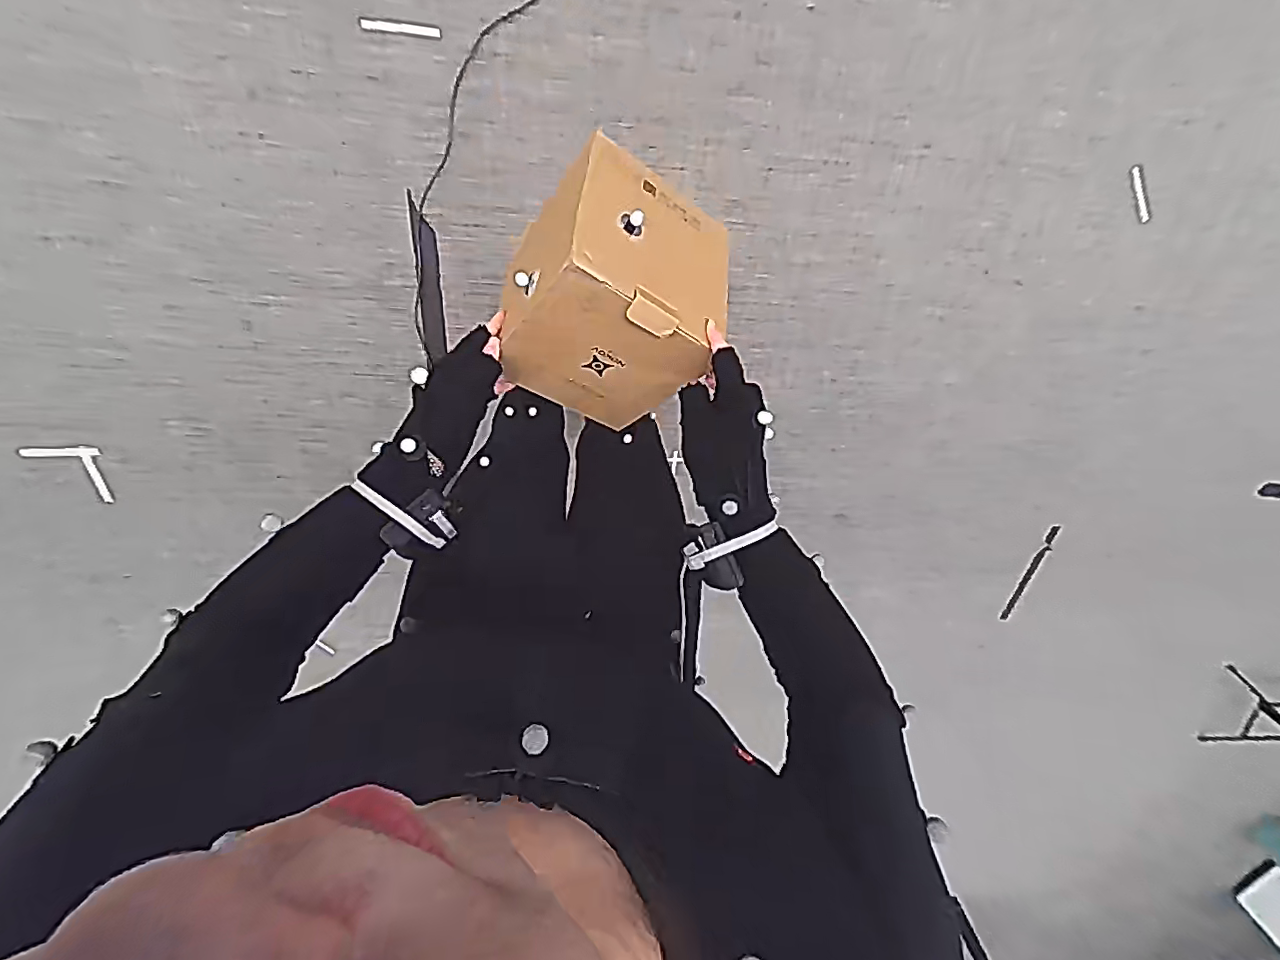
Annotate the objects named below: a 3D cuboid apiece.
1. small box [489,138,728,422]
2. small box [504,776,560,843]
[{"bbox_3d":[-0.029,-0.192,0.549,0.168,0.176,0.179,23,148,-30],"label":"small box"},{"bbox_3d":[-0.356,1.107,1.796,0.168,0.176,0.179,1,121,-5],"label":"small box"}]
